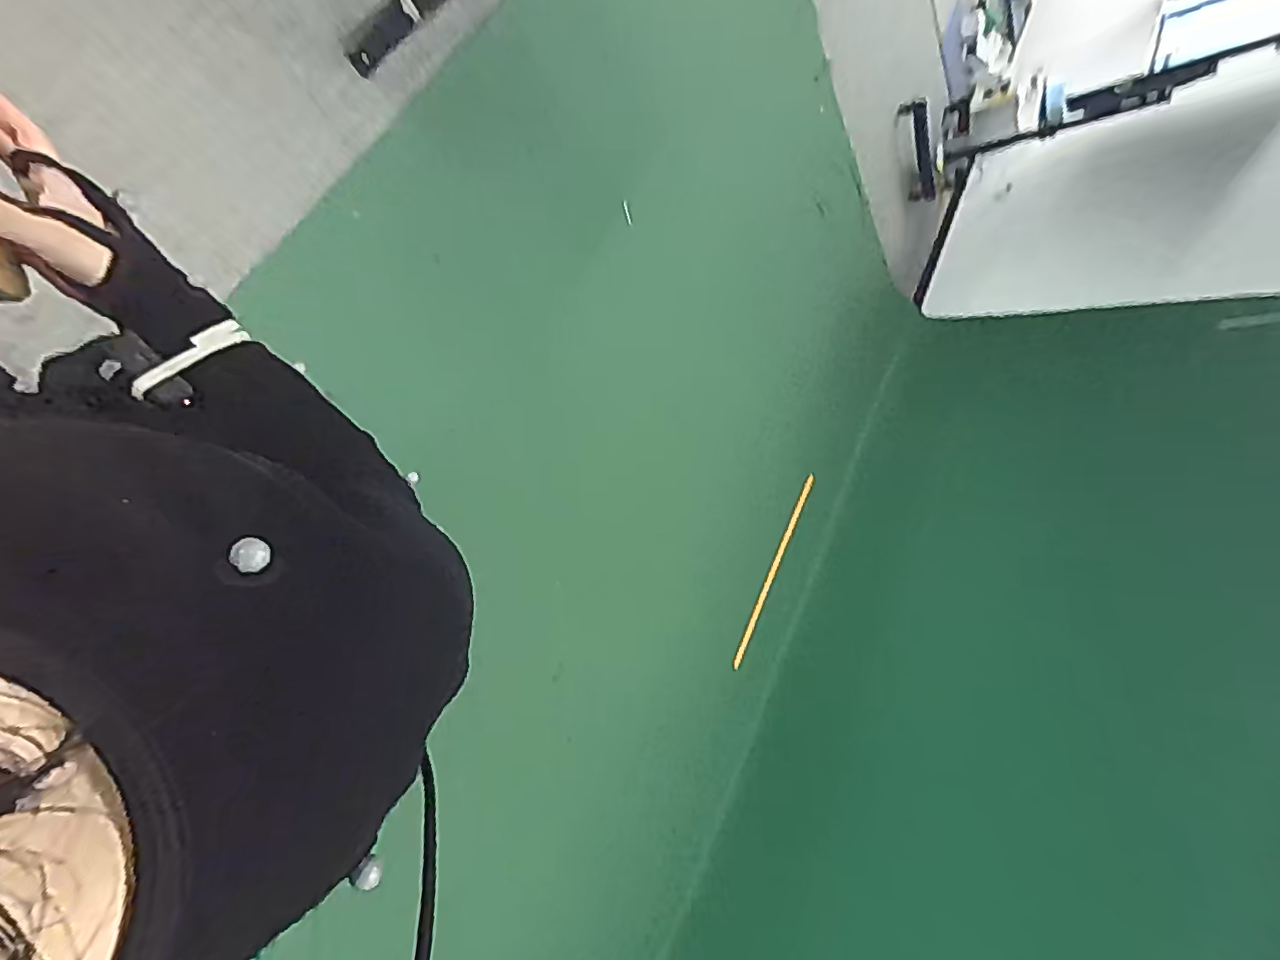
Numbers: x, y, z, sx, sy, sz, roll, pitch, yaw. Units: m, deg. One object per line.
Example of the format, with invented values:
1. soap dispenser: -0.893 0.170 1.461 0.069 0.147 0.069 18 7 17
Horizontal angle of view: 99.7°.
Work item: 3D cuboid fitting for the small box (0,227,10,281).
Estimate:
1. small box: -0.450 -0.193 0.251 0.168 0.176 0.179 -14 110 -39
